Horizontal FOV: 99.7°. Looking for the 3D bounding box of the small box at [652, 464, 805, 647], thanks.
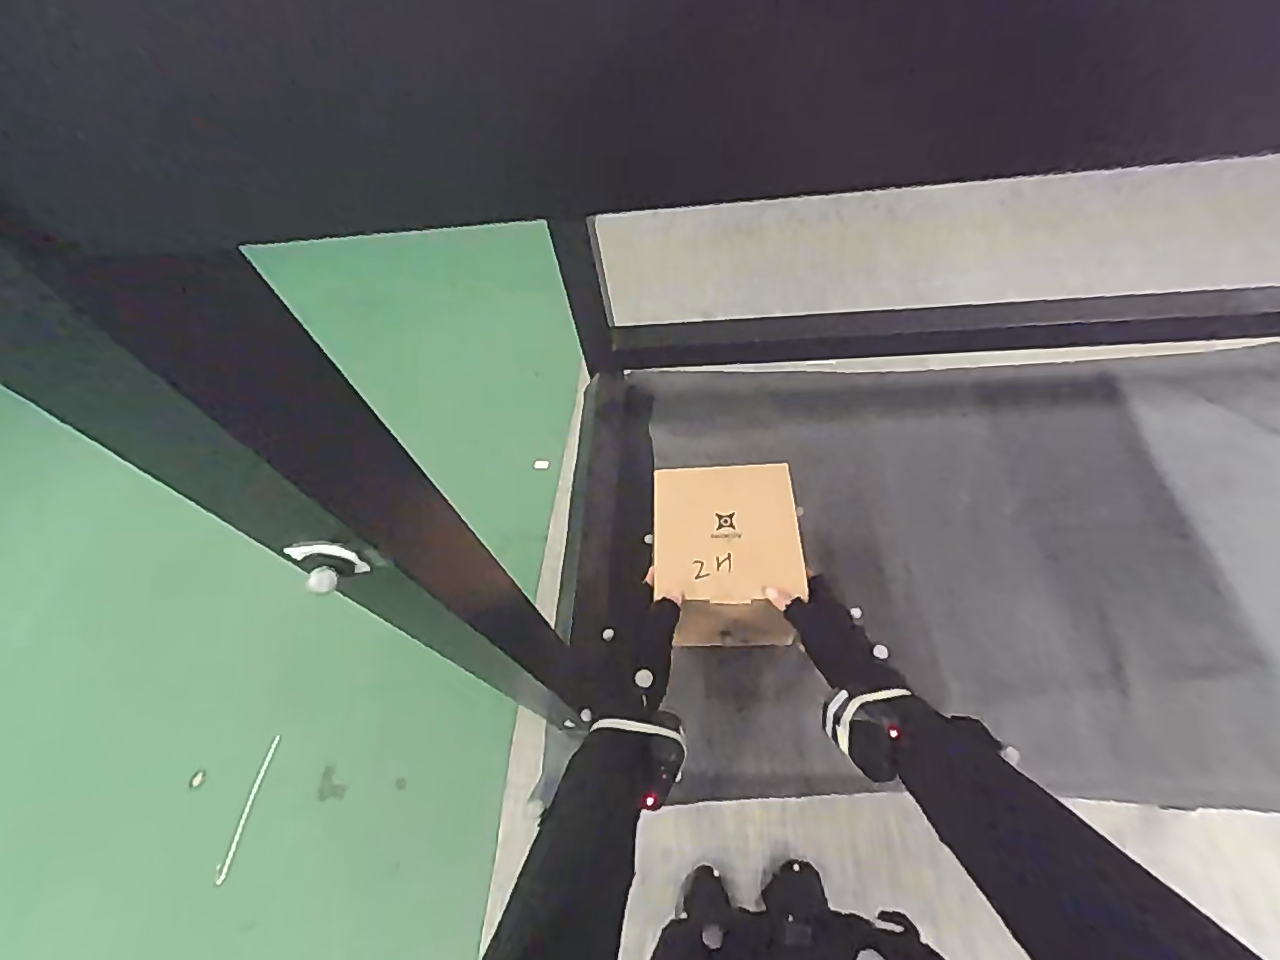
[{"bbox_3d":[0.105,0.100,0.686,0.168,0.176,0.179,-3,57,7],"label":"small box"}]
